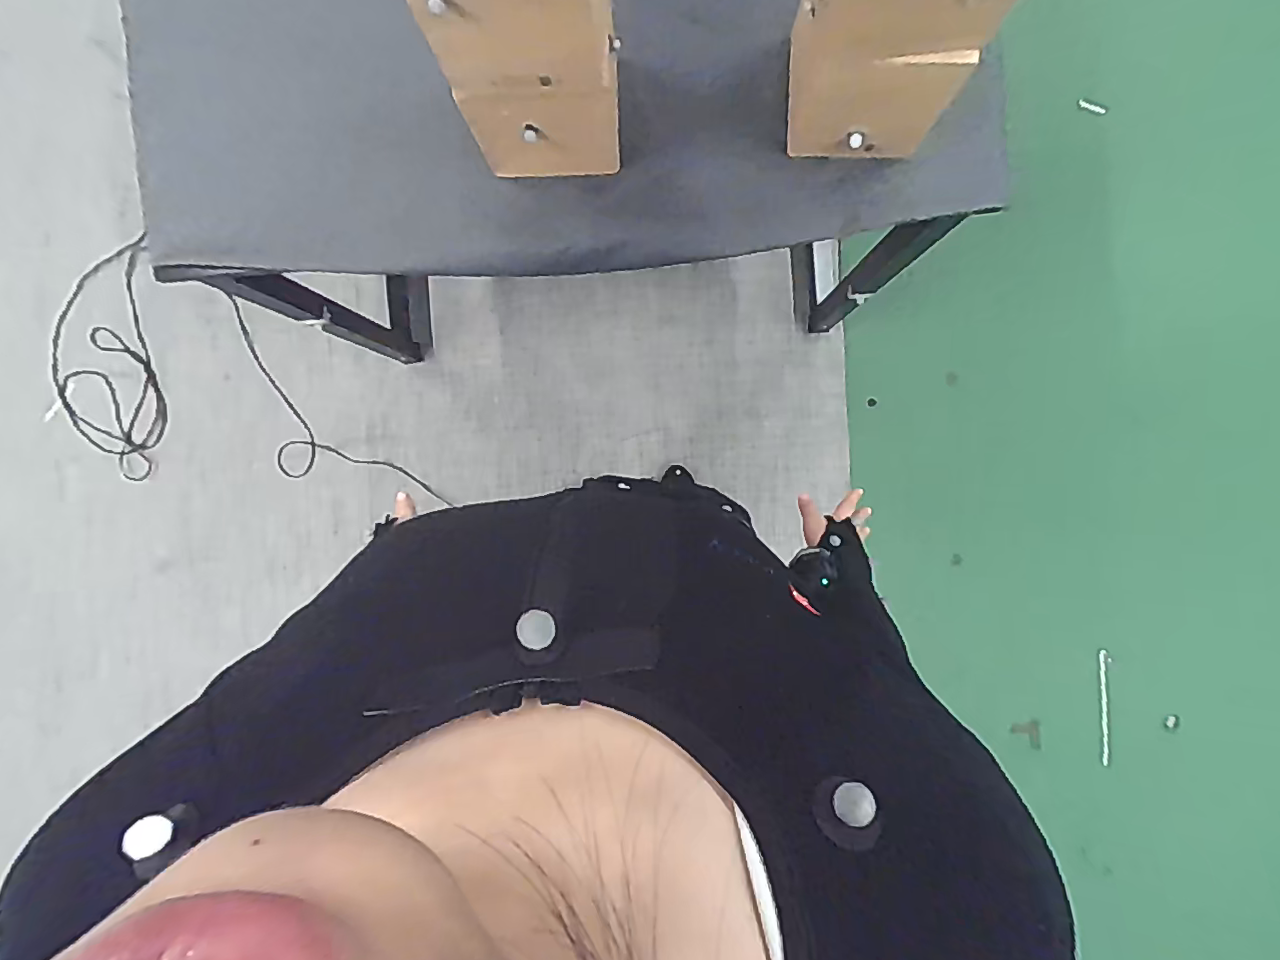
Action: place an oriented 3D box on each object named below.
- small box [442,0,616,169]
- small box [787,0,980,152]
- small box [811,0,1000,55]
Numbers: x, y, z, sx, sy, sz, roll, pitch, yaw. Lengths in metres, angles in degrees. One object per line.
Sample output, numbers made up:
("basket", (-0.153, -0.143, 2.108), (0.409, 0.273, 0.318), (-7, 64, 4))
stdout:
("small box", (-0.125, -0.509, 0.664), (0.179, 0.176, 0.168), (-1, 90, 2))
("small box", (0.278, -0.532, 0.648), (0.168, 0.176, 0.179), (2, 90, 3))
("small box", (0.261, -0.534, 0.486), (0.179, 0.176, 0.168), (-6, 88, 4))
